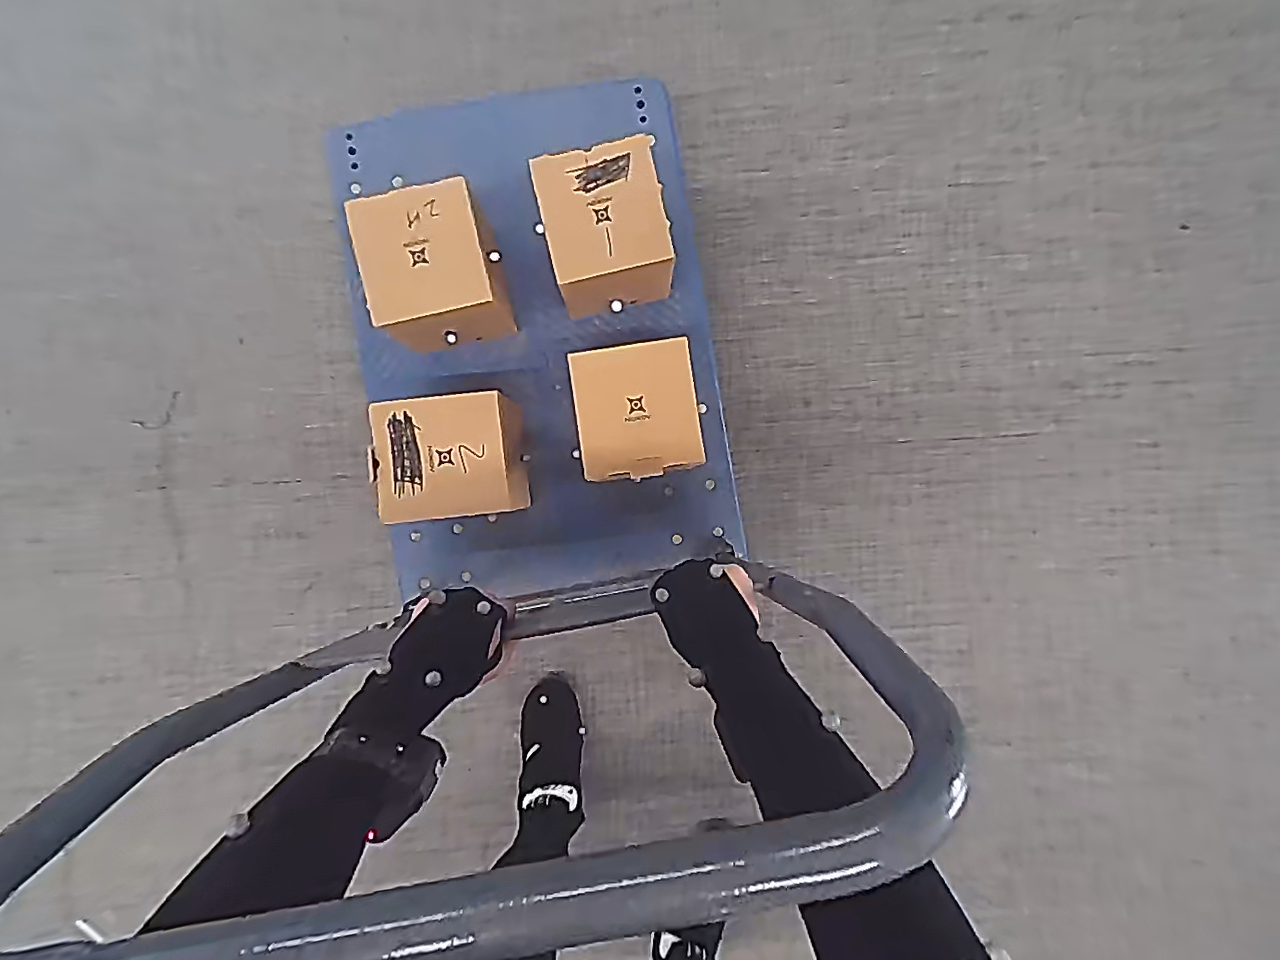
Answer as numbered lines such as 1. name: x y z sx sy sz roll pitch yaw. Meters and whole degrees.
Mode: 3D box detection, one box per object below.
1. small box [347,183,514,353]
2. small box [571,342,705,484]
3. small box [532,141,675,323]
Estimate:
1. small box: -0.296 -0.298 0.803 0.168 0.176 0.179 -13 90 -2
2. small box: -0.006 -0.090 0.808 0.168 0.176 0.179 -8 90 -1
3. small box: -0.051 -0.357 0.807 0.168 0.176 0.179 -13 91 0
